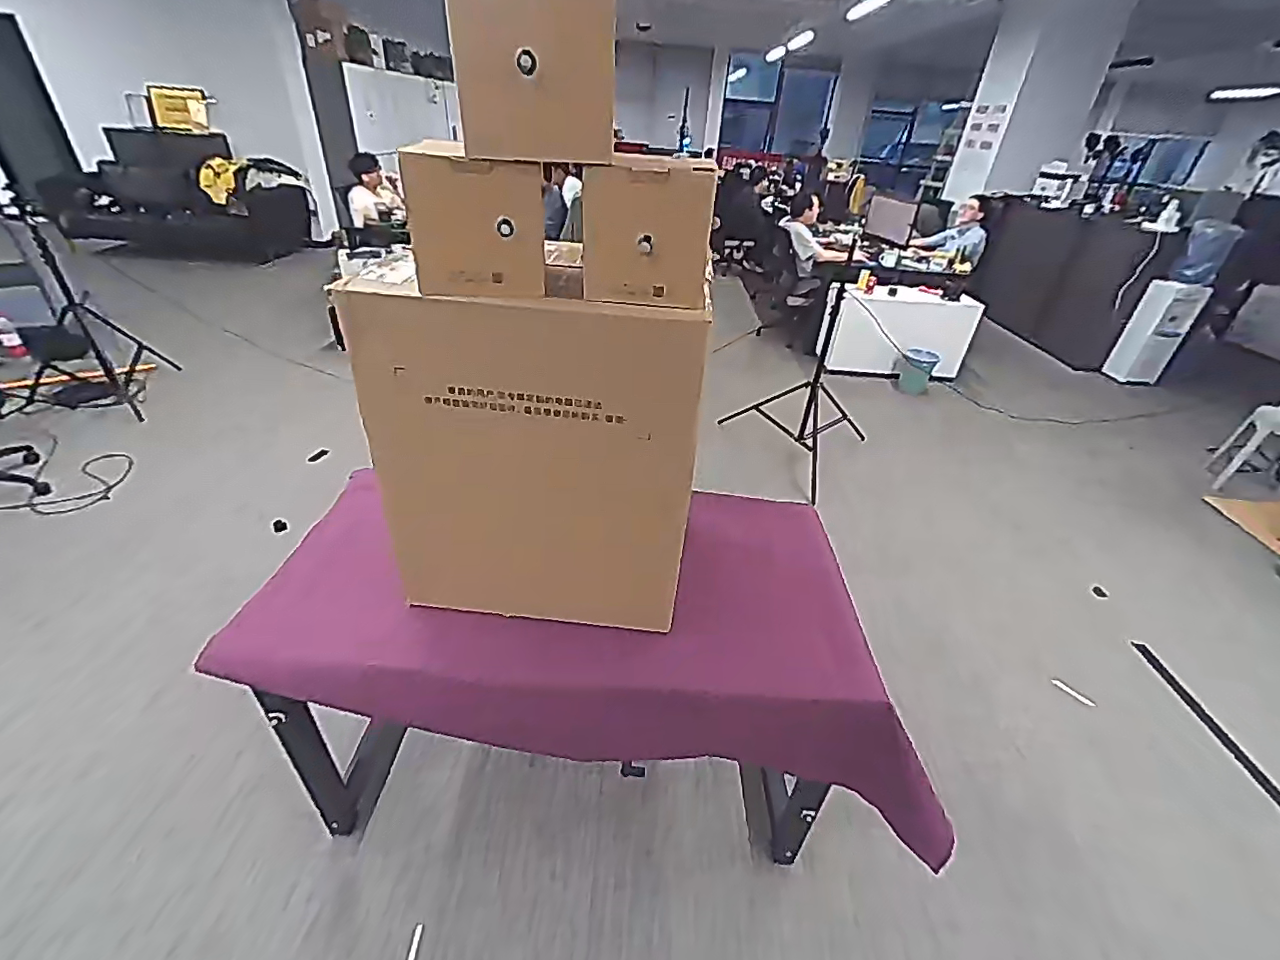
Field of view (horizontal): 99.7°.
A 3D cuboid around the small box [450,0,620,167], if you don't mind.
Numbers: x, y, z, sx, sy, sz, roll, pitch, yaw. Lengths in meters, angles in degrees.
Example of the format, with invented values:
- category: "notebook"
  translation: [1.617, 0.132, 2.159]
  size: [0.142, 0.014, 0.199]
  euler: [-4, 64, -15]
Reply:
- category: "small box"
  translation: [-0.116, -0.486, 0.661]
  size: [0.179, 0.176, 0.168]
  euler: [-1, 35, -4]

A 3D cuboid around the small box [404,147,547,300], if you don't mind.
- category: "small box"
  translation: [-0.216, -0.360, 0.760]
  size: [0.168, 0.176, 0.179]
  euler: [-1, 34, -10]

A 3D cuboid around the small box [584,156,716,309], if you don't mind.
- category: "small box"
  translation: [0.017, -0.353, 0.769]
  size: [0.168, 0.176, 0.179]
  euler: [6, 35, 2]
